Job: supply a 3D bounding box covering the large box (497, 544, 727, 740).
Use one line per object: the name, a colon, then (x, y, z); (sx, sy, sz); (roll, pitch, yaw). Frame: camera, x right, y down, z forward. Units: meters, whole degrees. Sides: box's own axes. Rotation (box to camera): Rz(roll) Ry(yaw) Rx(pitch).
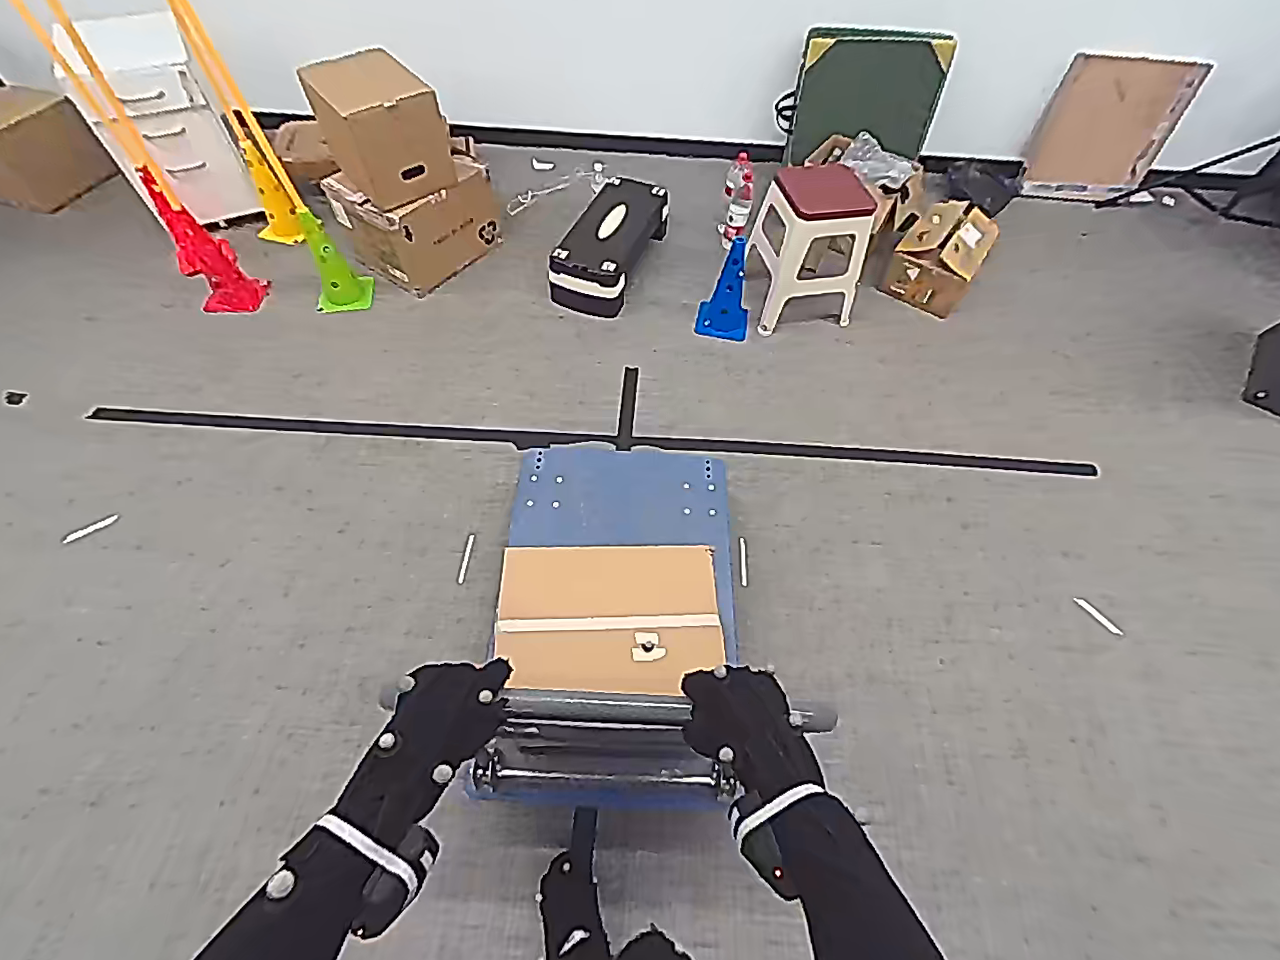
large box: (-0.064, 0.342, 1.123); (0.408, 0.320, 0.320); (0, 57, -5)
